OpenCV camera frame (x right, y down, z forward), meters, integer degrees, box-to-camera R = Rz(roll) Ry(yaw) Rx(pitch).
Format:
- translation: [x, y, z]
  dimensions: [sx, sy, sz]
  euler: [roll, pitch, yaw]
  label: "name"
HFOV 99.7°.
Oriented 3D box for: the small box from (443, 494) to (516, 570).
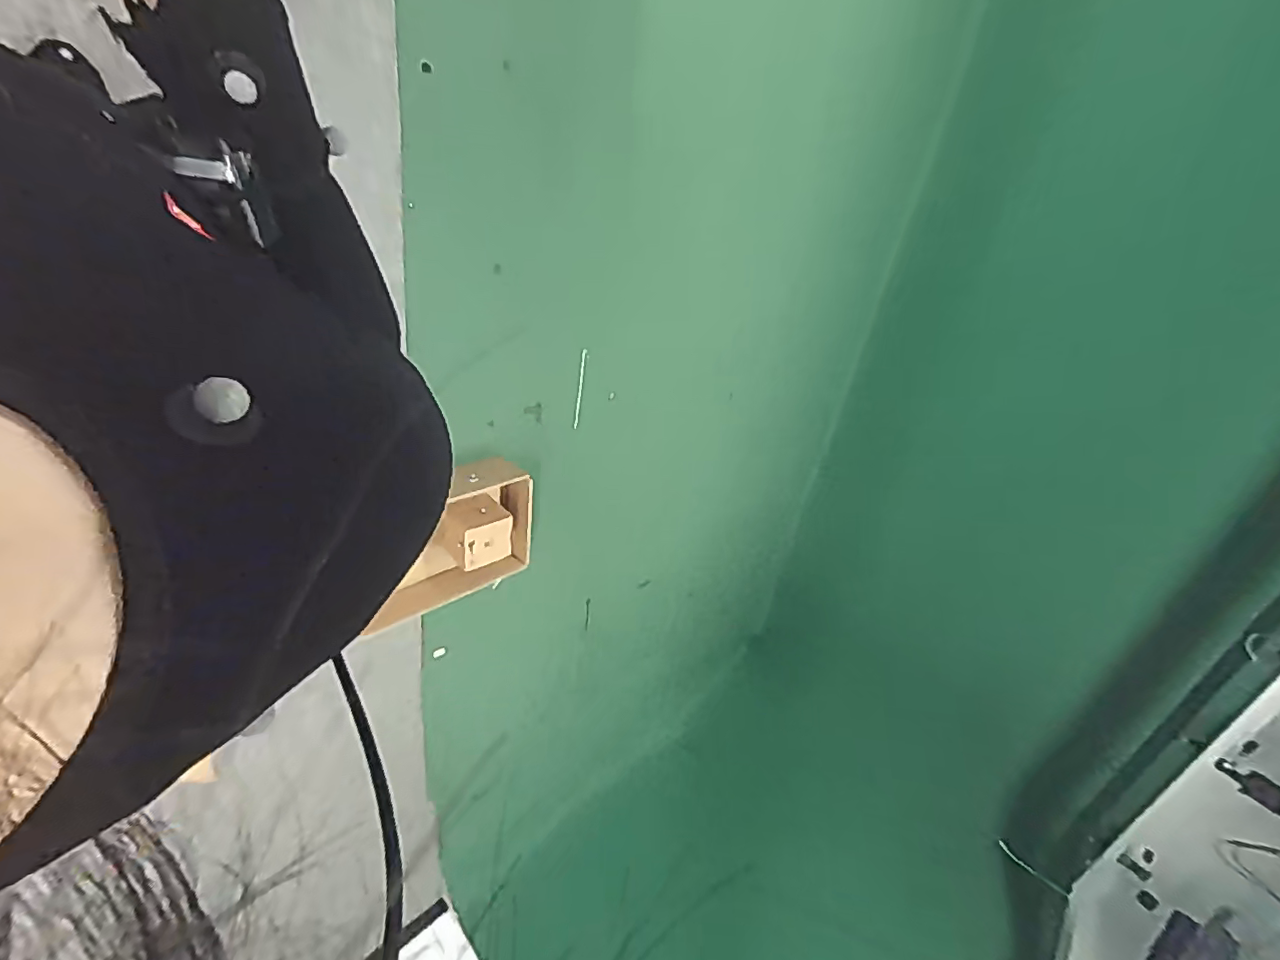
- translation: [-0.541, 0.167, 1.821]
  dimensions: [0.179, 0.176, 0.168]
  euler: [-19, 130, -41]
  label: "small box"
